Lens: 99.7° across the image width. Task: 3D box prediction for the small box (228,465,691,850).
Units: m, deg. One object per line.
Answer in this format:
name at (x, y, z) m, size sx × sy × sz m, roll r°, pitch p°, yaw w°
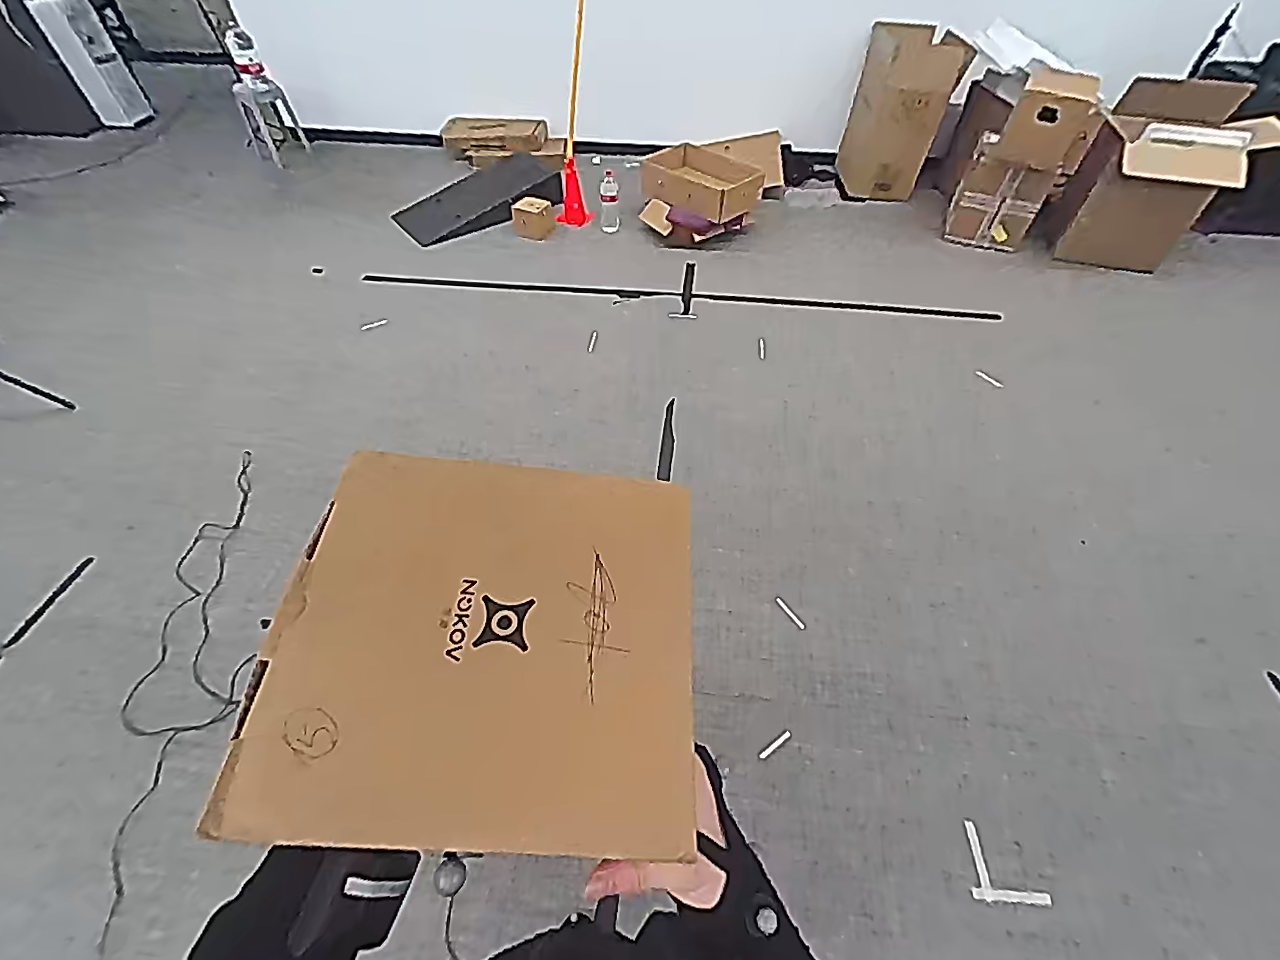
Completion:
small box at (-0.073, 0.111, 0.313) m, size 0.179 × 0.176 × 0.168 m, roll 6°, pitch 56°, yaw -6°
